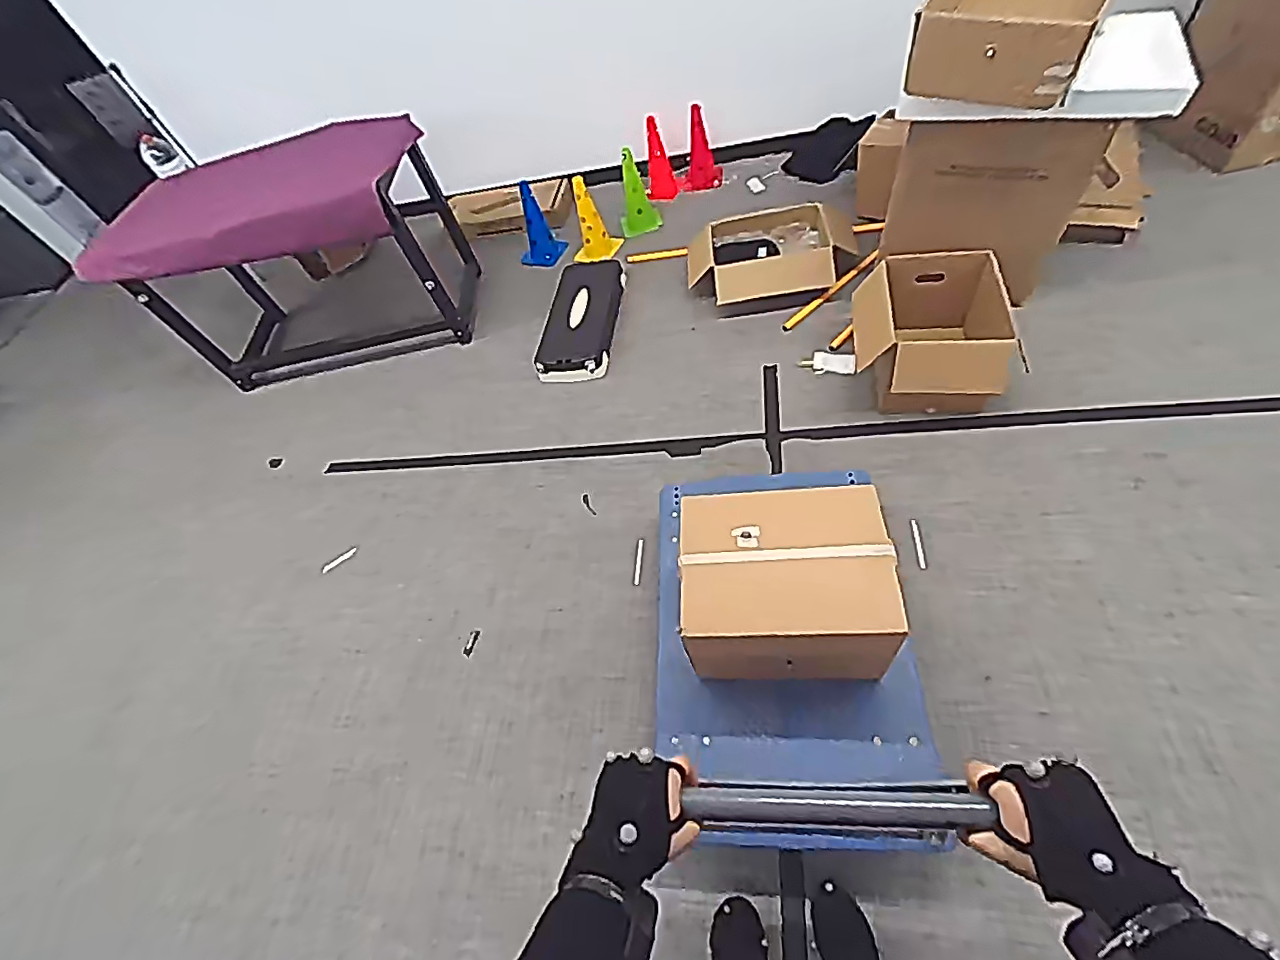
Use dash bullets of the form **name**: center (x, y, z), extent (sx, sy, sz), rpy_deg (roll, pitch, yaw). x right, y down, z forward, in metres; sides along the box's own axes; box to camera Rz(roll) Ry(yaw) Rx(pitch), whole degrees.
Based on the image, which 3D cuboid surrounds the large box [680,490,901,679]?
- **large box**: center (0.313, 0.248, 1.205), extent (0.408, 0.320, 0.320), rpy_deg (-5, 54, 12)
